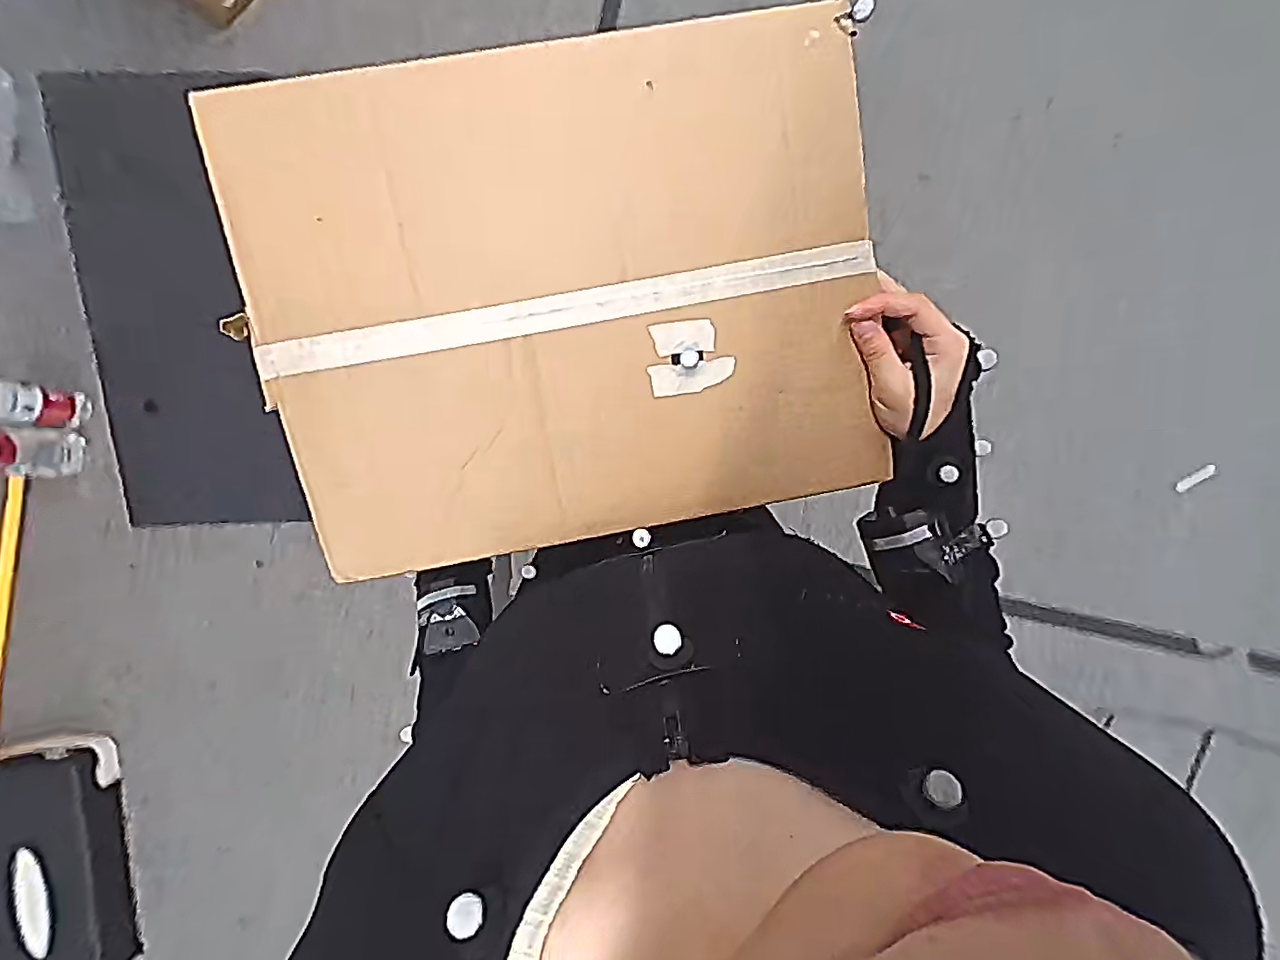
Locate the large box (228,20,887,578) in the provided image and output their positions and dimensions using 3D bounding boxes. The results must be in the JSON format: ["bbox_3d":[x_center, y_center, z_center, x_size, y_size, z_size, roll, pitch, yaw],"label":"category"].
[{"bbox_3d":[-0.049,-0.138,0.513,0.408,0.320,0.320,-11,101,-4],"label":"large box"}]
